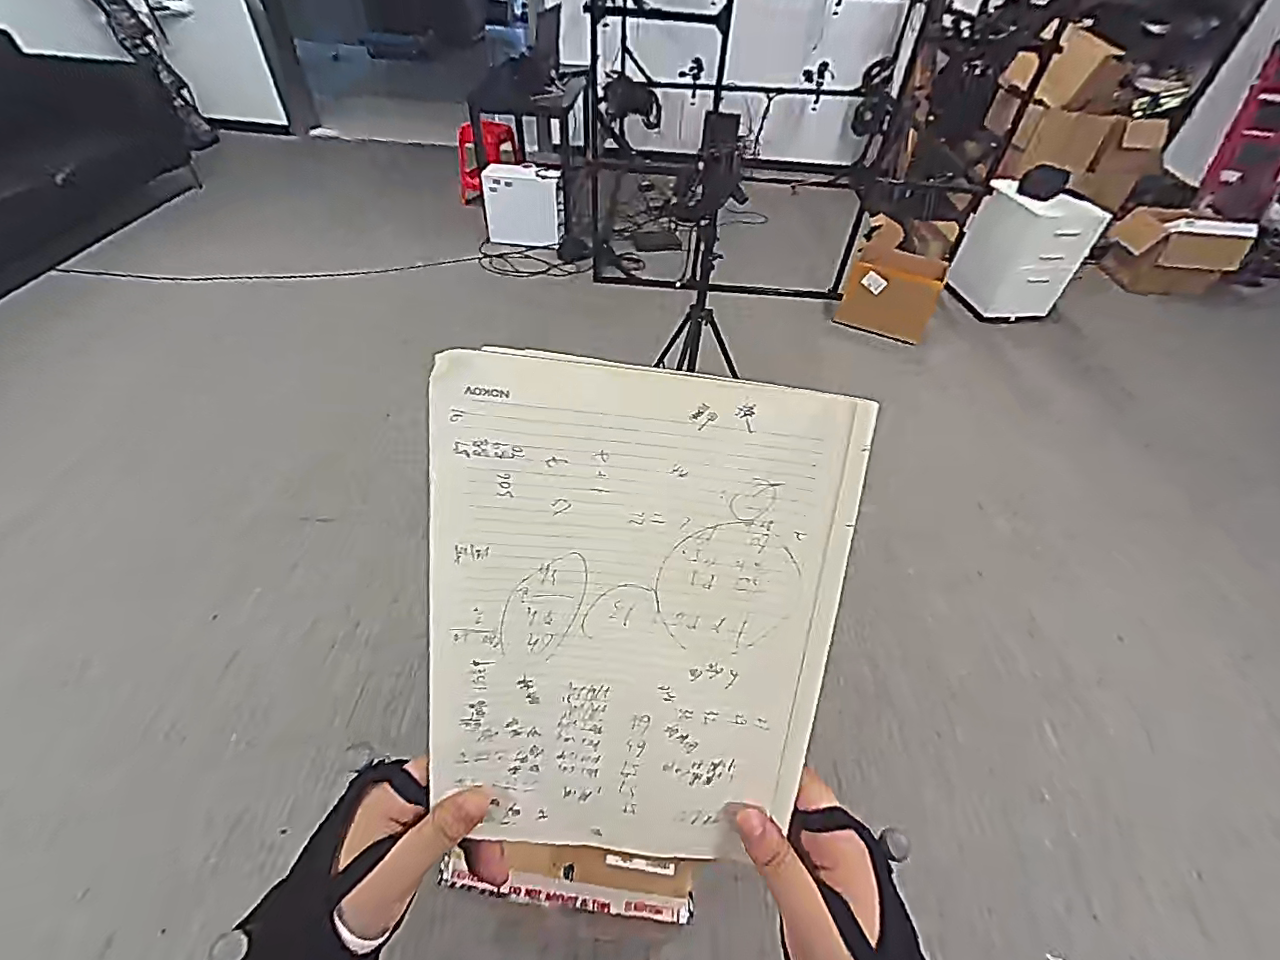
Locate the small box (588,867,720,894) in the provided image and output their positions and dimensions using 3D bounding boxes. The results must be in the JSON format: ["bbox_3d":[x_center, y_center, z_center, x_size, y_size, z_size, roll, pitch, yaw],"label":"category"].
[{"bbox_3d":[0.020,0.516,0.827,0.179,0.176,0.168,8,47,0],"label":"small box"}]

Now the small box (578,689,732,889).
[{"bbox_3d":[0.016,0.404,0.705,0.168,0.176,0.179,11,48,2],"label":"small box"}]
